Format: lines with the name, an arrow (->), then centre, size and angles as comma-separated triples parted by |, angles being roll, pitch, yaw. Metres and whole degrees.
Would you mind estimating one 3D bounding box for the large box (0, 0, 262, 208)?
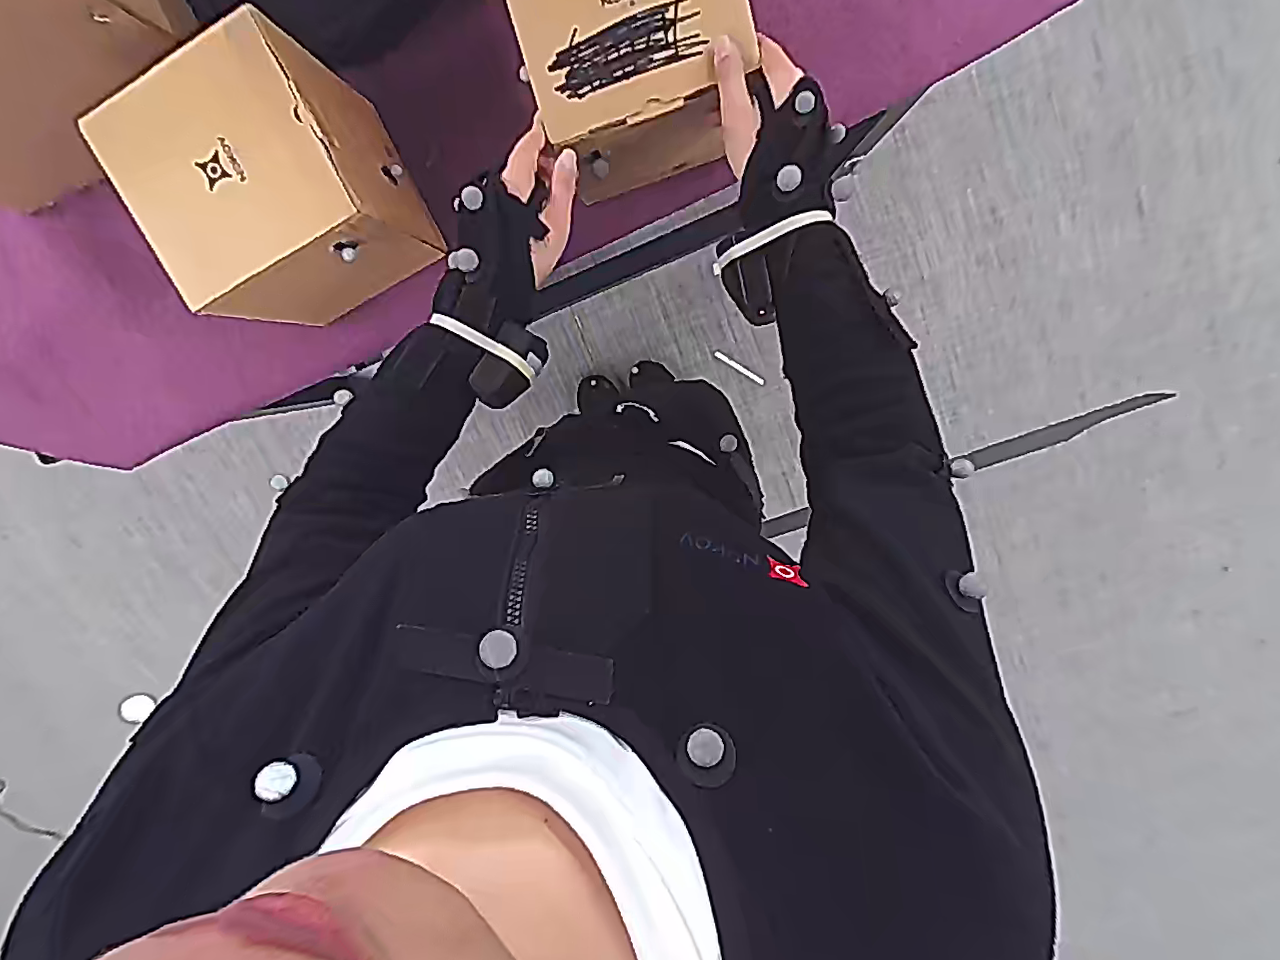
large box -> -0.615, -0.497, 0.406 | 0.320, 0.320, 0.408 | -21, 104, 8
